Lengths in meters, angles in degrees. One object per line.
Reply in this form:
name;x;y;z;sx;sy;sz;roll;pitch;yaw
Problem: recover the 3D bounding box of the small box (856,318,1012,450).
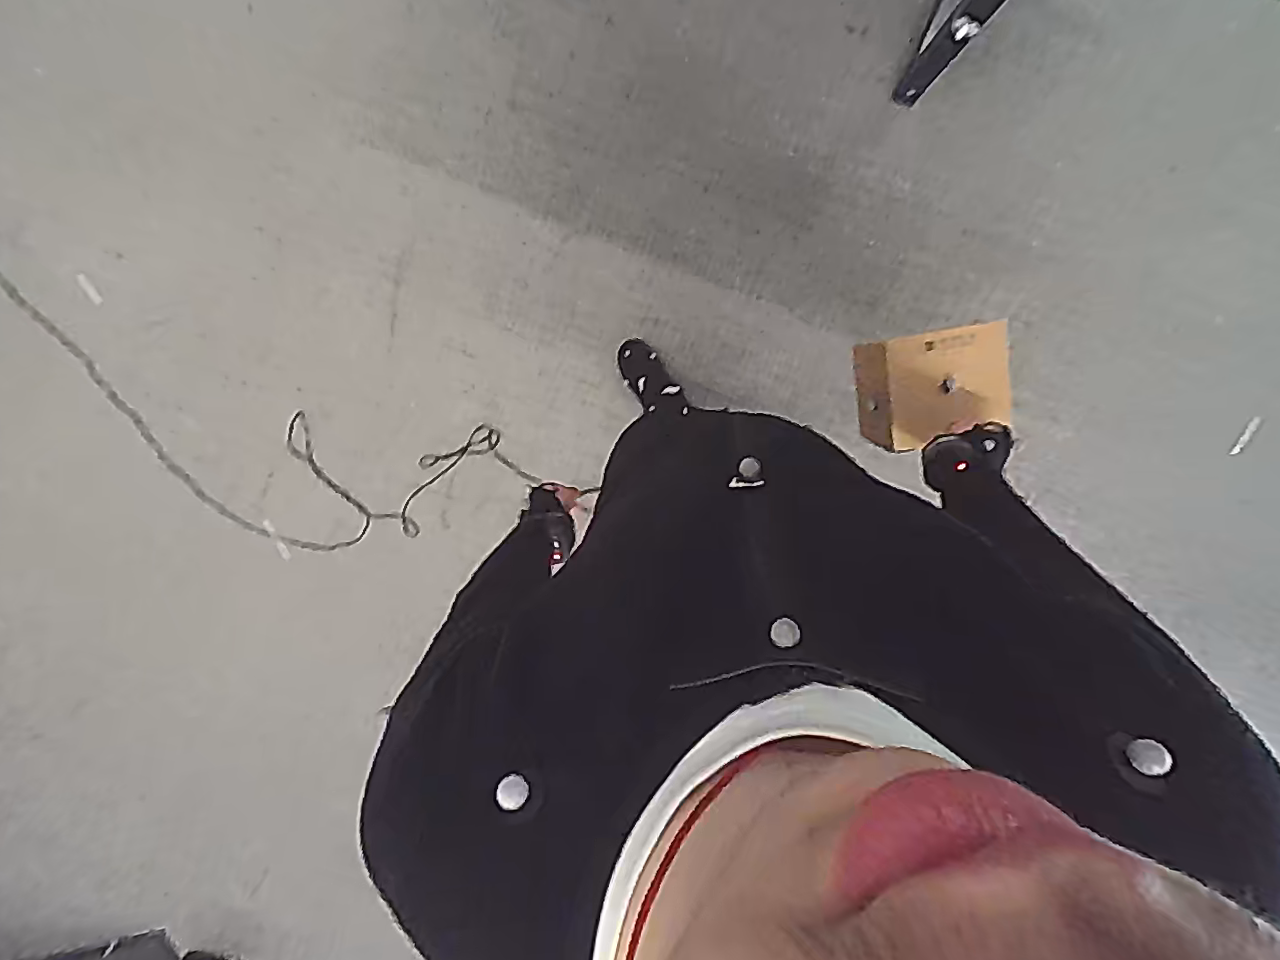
small box;0.452;-0.154;0.858;0.168;0.179;0.176;-9;100;11
